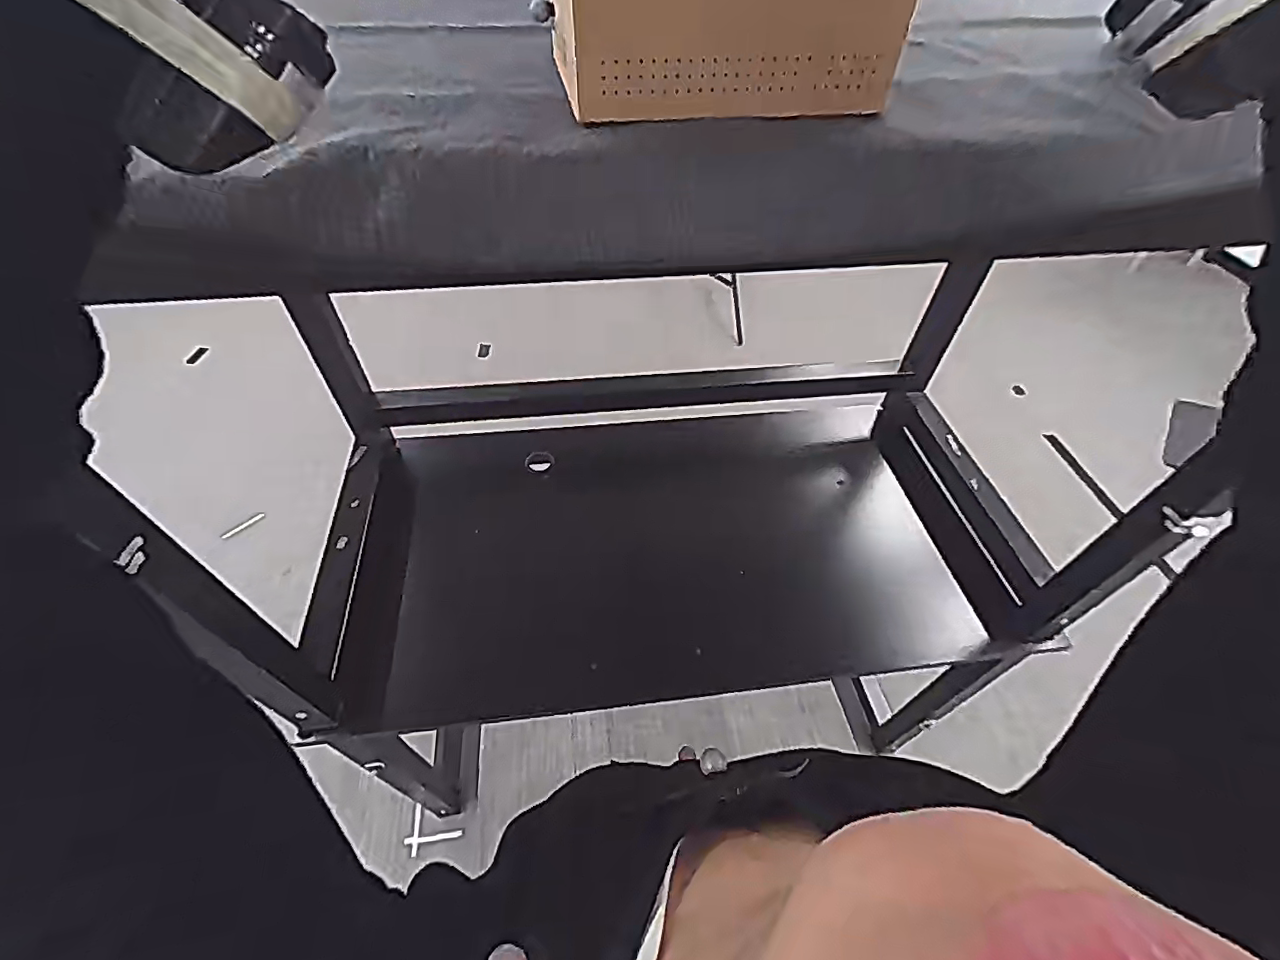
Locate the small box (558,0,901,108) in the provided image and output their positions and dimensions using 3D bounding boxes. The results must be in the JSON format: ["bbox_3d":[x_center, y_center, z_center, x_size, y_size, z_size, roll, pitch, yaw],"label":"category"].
[{"bbox_3d":[0.041,-0.315,0.286,0.179,0.176,0.168,-7,49,-8],"label":"small box"}]
